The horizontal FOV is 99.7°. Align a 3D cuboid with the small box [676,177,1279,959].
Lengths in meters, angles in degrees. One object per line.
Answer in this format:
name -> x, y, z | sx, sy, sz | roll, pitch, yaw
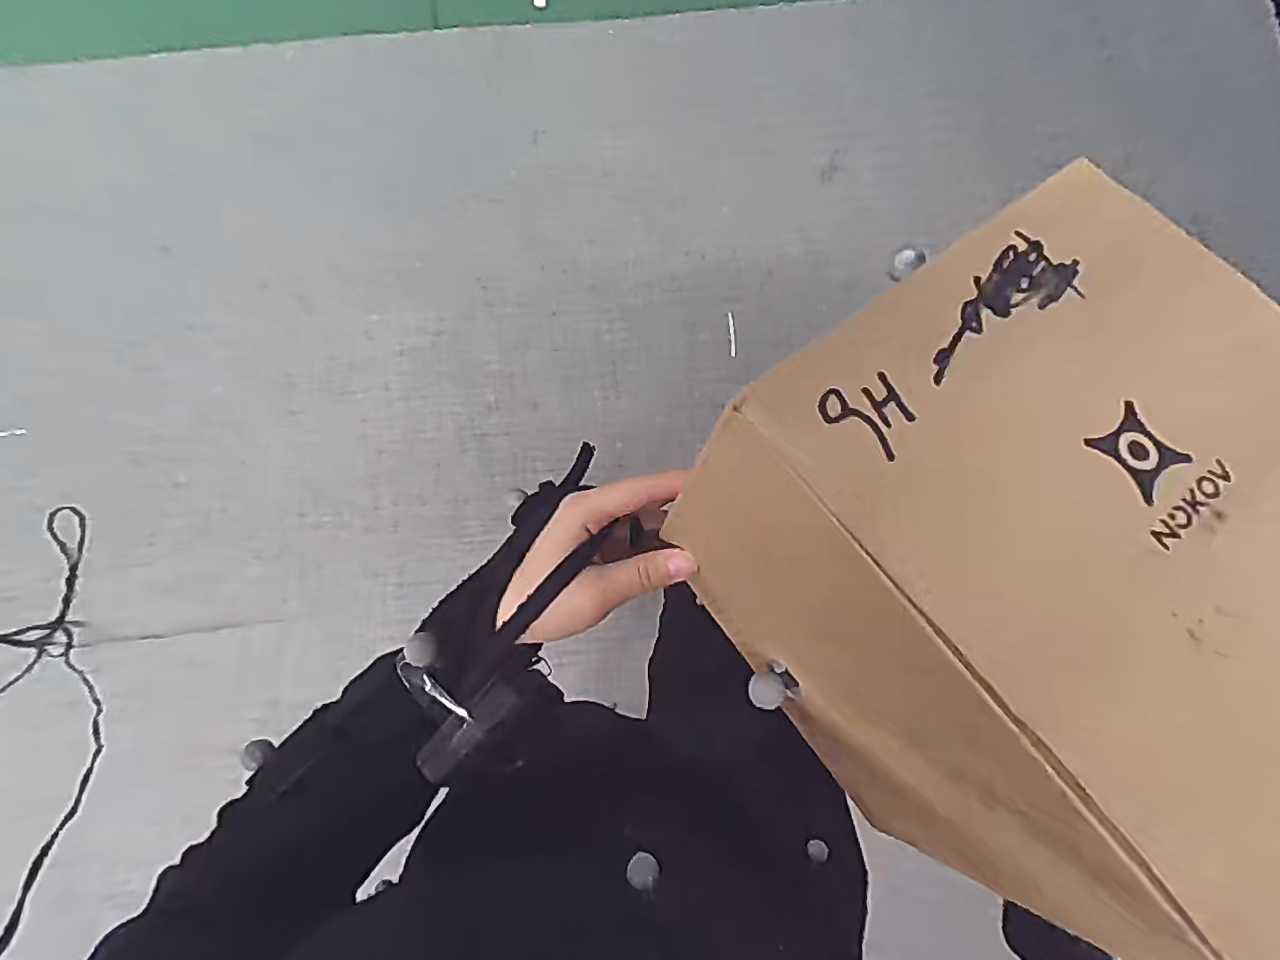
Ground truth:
small box -> 0.136, 0.029, 0.225 | 0.168, 0.176, 0.179 | -33, 77, -15
